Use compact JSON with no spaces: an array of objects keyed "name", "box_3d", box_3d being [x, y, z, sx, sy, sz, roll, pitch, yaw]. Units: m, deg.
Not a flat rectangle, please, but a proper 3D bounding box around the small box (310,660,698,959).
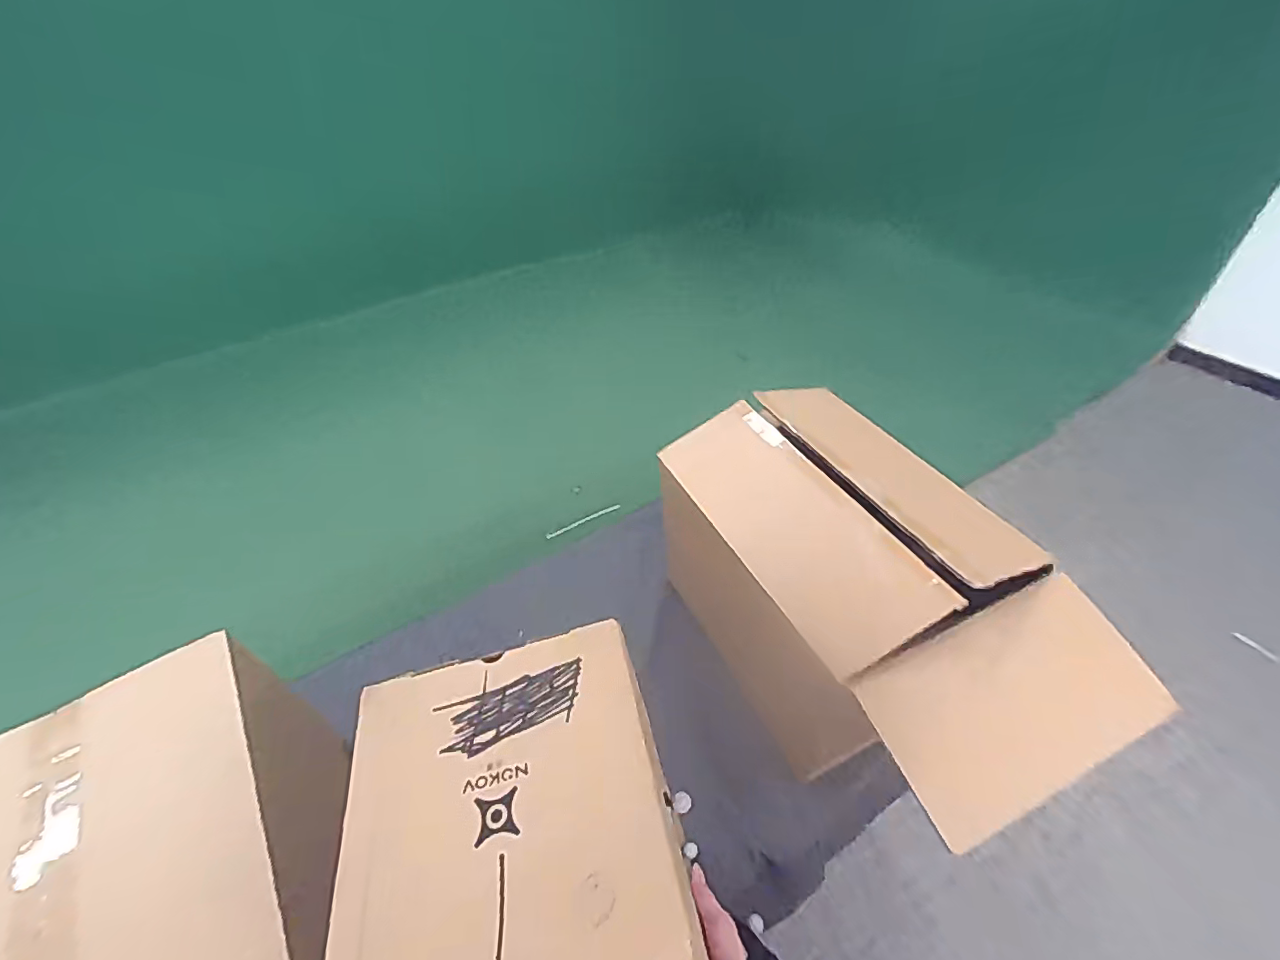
[{"name":"small box","box_3d":[-0.063,0.240,0.319,0.168,0.176,0.179,-15,47,-3]}]
